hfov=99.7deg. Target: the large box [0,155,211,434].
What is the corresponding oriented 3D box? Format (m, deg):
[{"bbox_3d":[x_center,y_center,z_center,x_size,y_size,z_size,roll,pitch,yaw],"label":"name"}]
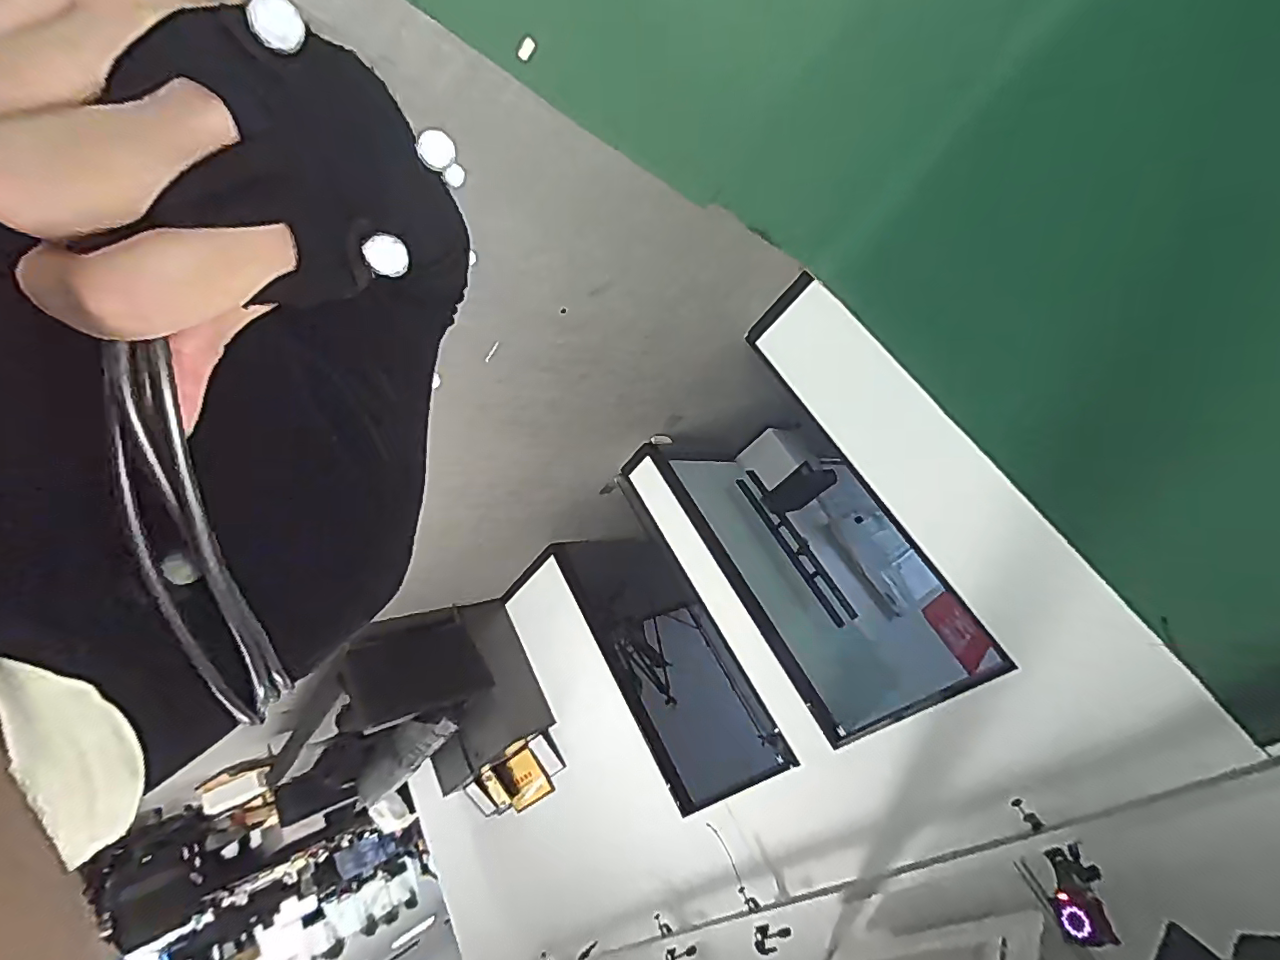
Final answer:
[{"bbox_3d":[-1.122,-0.343,1.080,0.408,0.320,0.320,-43,155,28],"label":"large box"}]
